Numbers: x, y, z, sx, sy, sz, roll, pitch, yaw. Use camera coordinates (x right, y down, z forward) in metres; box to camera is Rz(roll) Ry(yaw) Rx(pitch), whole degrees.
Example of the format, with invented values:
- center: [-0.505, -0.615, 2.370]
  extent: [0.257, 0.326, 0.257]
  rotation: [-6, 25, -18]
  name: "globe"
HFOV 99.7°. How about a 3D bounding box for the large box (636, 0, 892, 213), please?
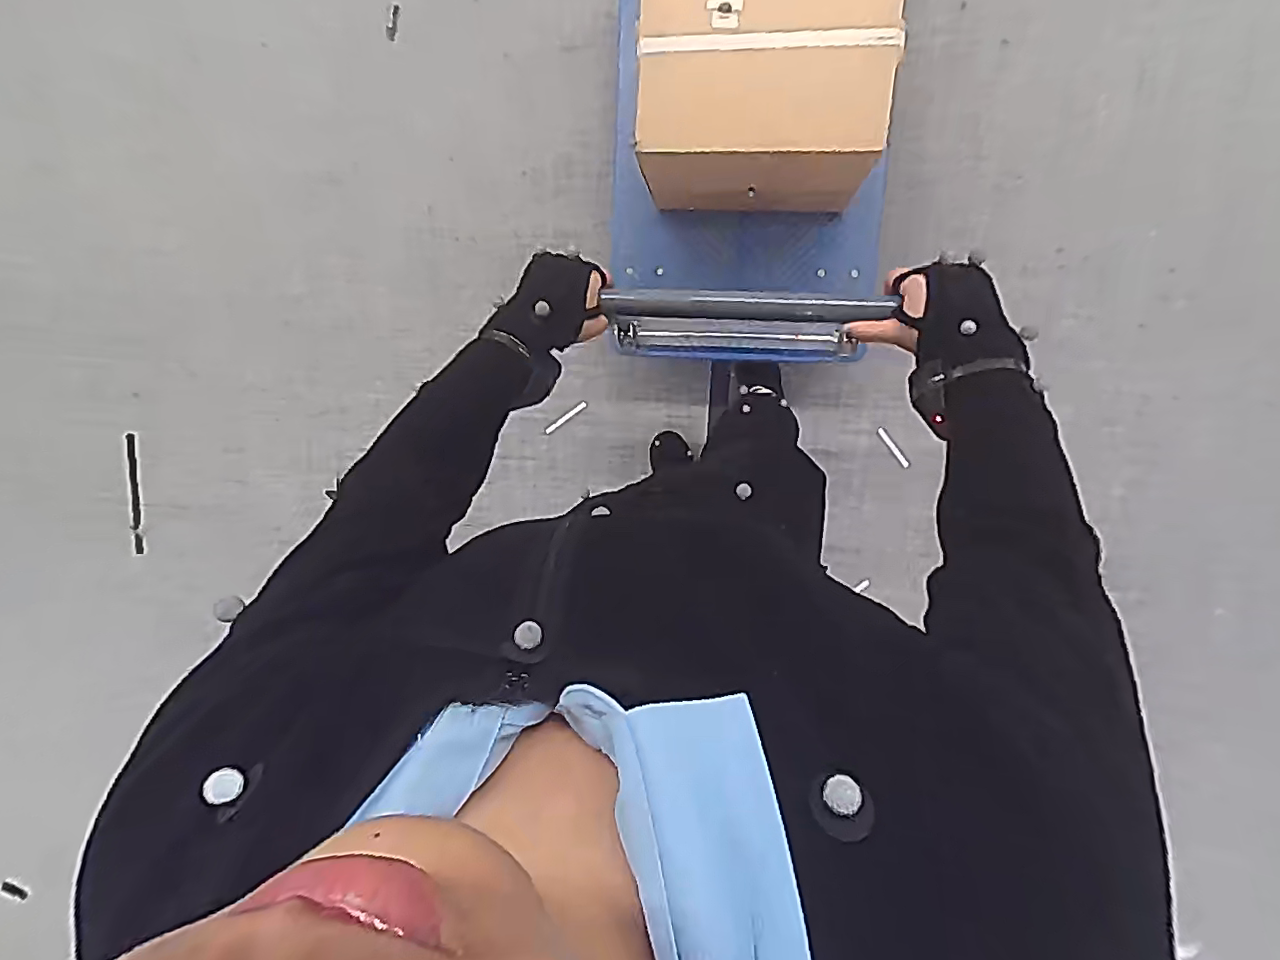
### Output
- center: [0.220, -0.714, 1.026]
  extent: [0.408, 0.320, 0.320]
  rotation: [5, 99, 9]
  name: "large box"
